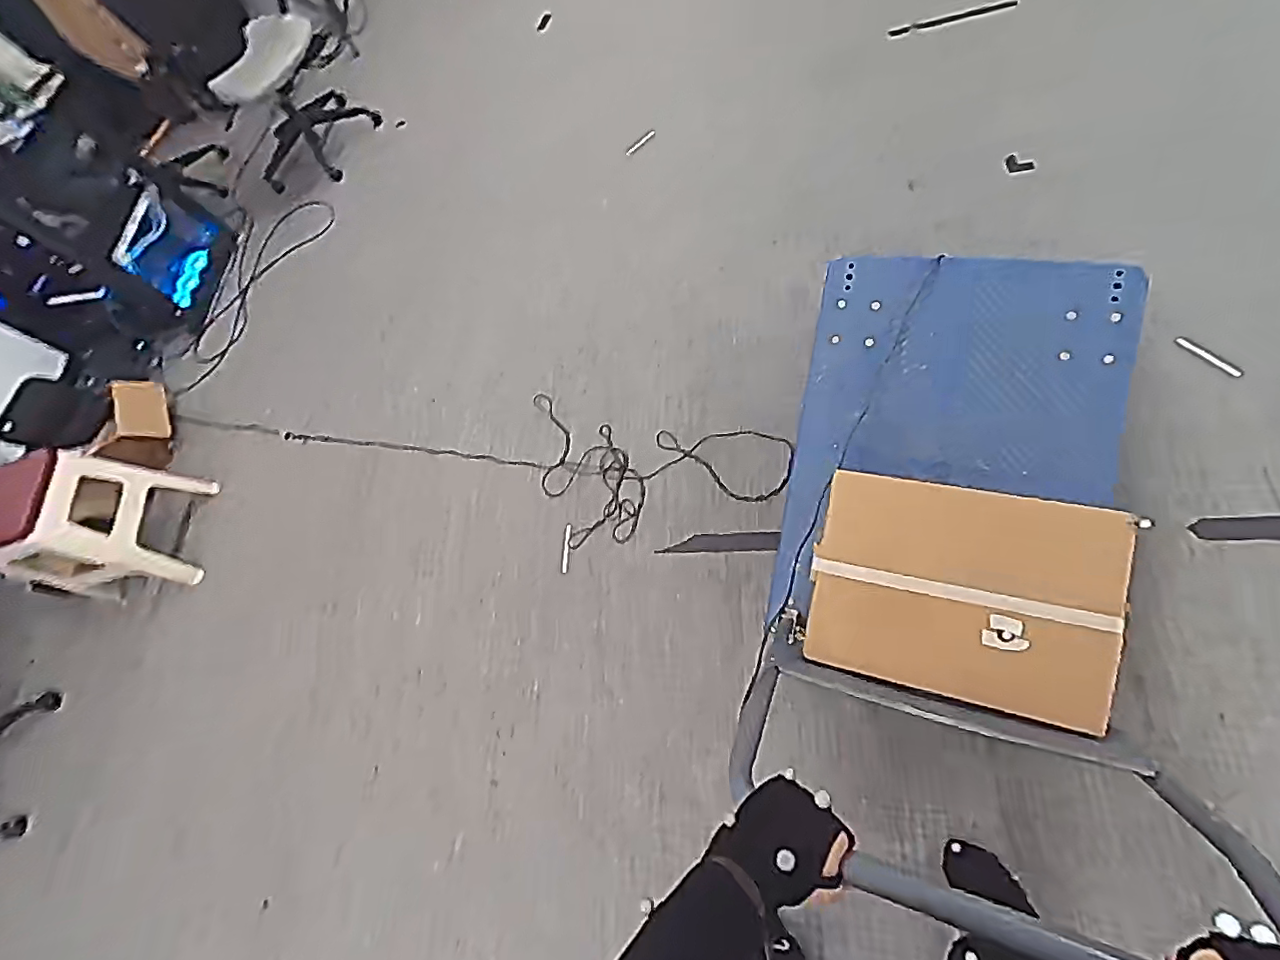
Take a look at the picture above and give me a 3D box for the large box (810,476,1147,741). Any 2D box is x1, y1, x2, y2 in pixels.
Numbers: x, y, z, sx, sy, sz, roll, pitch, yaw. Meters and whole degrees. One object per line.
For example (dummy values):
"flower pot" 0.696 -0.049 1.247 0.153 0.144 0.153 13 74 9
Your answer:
"large box" 0.523 0.185 0.931 0.408 0.320 0.320 10 89 19
